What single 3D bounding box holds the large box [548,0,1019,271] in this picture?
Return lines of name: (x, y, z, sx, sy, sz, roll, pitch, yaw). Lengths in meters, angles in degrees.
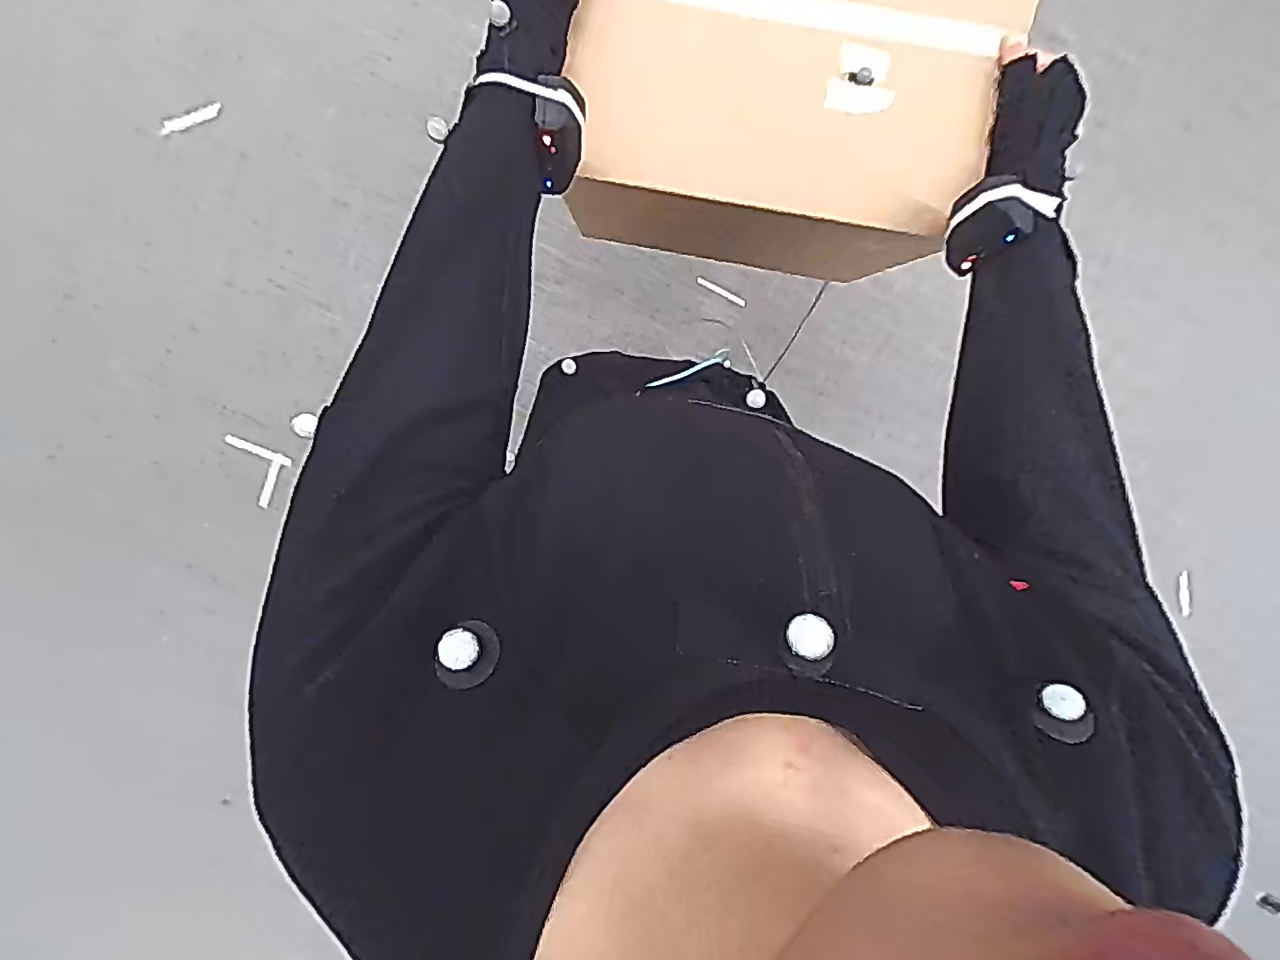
large box: (0.128, -0.448, 0.620, 0.408, 0.320, 0.320, 9, 105, -2)
